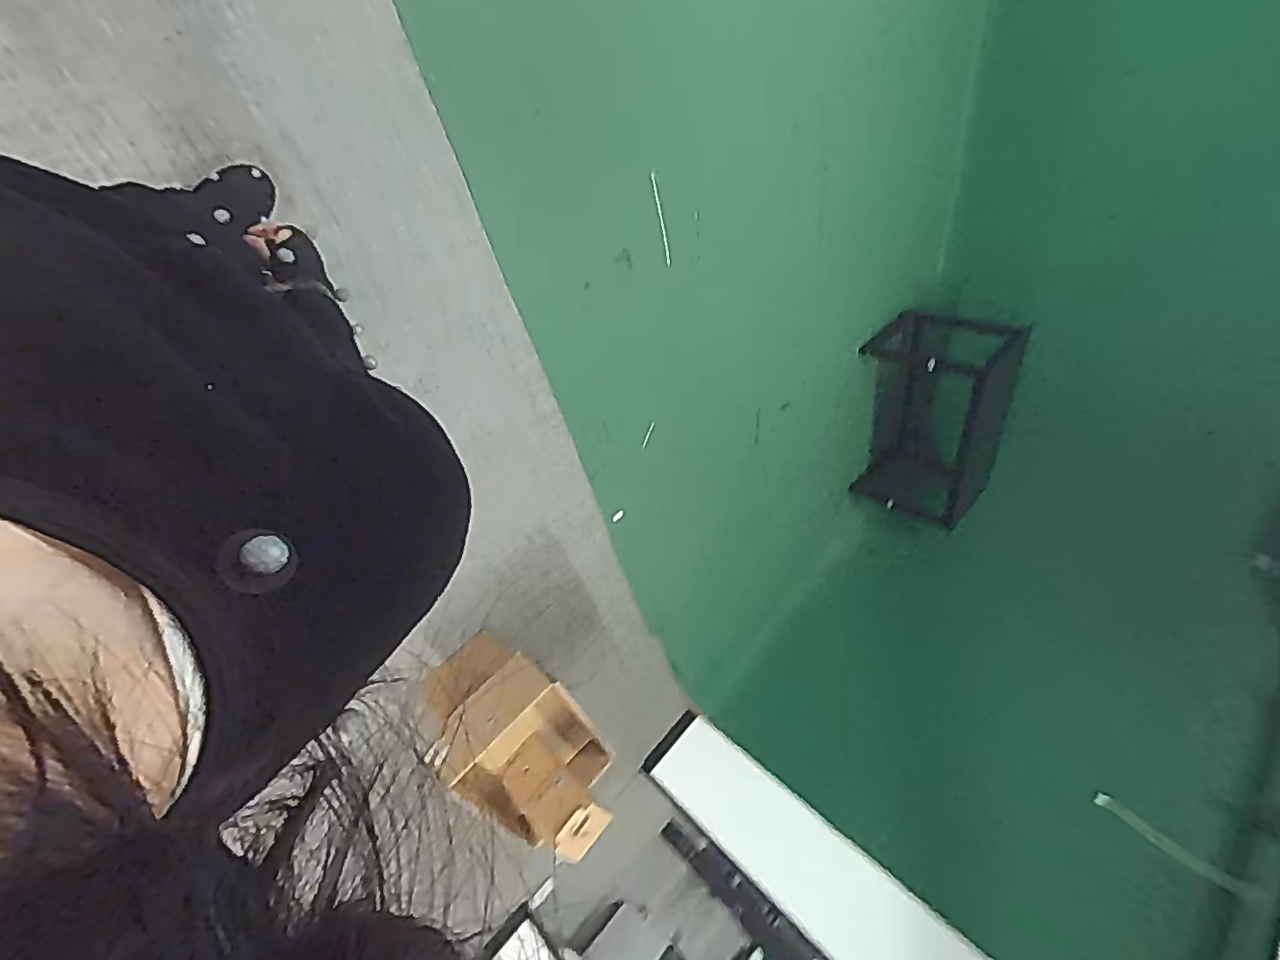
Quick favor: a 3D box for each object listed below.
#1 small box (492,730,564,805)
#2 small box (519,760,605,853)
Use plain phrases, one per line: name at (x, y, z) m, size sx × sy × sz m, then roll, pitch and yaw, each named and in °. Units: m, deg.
small box at (-0.359, 0.969, 1.799) m, size 0.168 × 0.176 × 0.179 m, roll -44°, pitch 134°, yaw -20°
small box at (-0.245, 1.015, 1.689) m, size 0.168 × 0.176 × 0.179 m, roll -46°, pitch 136°, yaw -20°
